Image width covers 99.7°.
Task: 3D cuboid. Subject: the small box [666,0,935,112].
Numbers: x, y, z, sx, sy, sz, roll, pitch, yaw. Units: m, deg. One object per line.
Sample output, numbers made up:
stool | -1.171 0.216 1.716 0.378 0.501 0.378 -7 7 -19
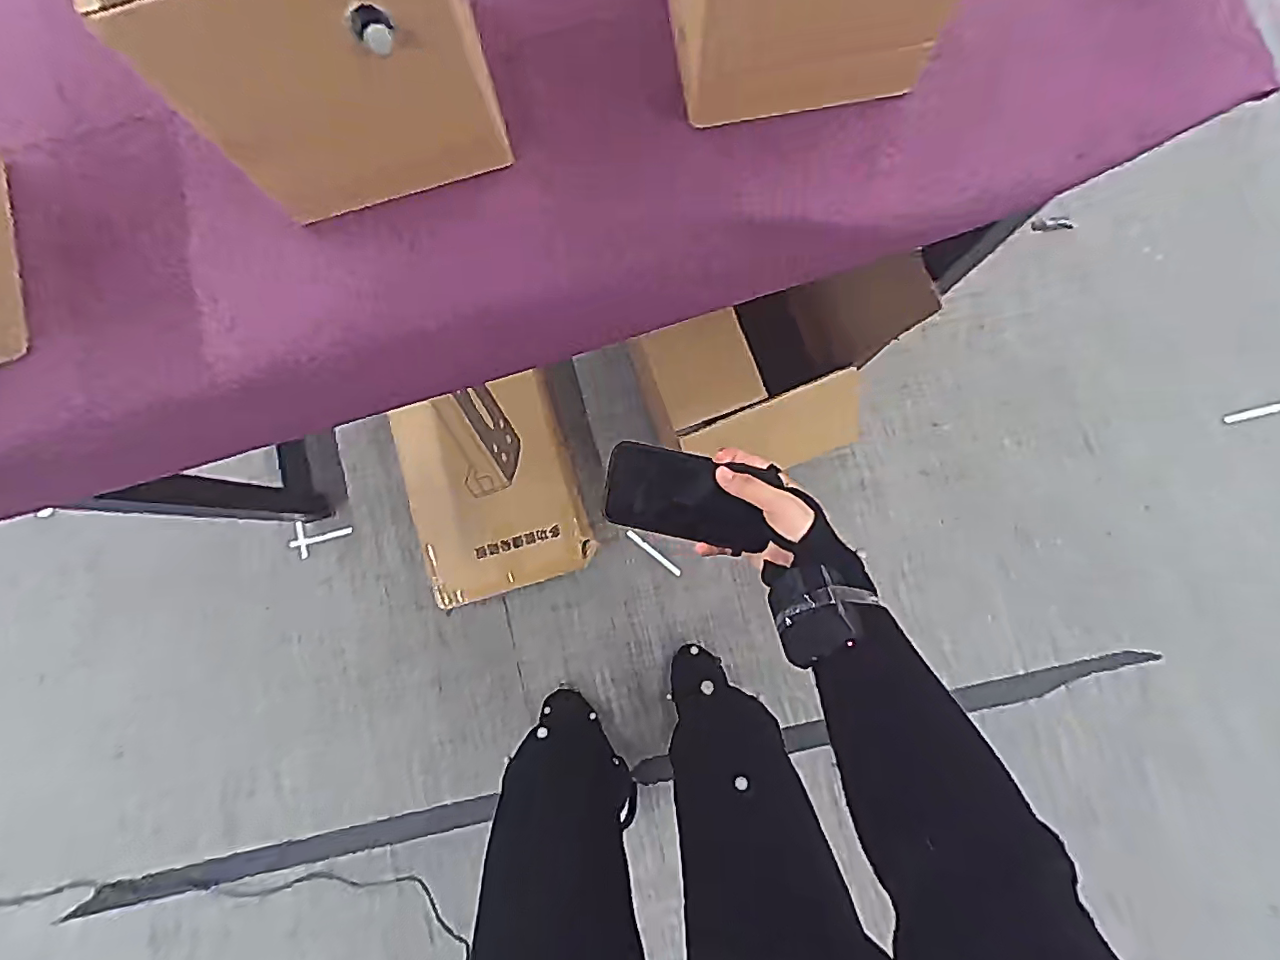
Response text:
small box | 0.103 -0.380 0.350 0.179 0.176 0.168 -9 83 0

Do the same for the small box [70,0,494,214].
small box | -0.209 -0.312 0.351 0.179 0.176 0.168 -17 80 0
